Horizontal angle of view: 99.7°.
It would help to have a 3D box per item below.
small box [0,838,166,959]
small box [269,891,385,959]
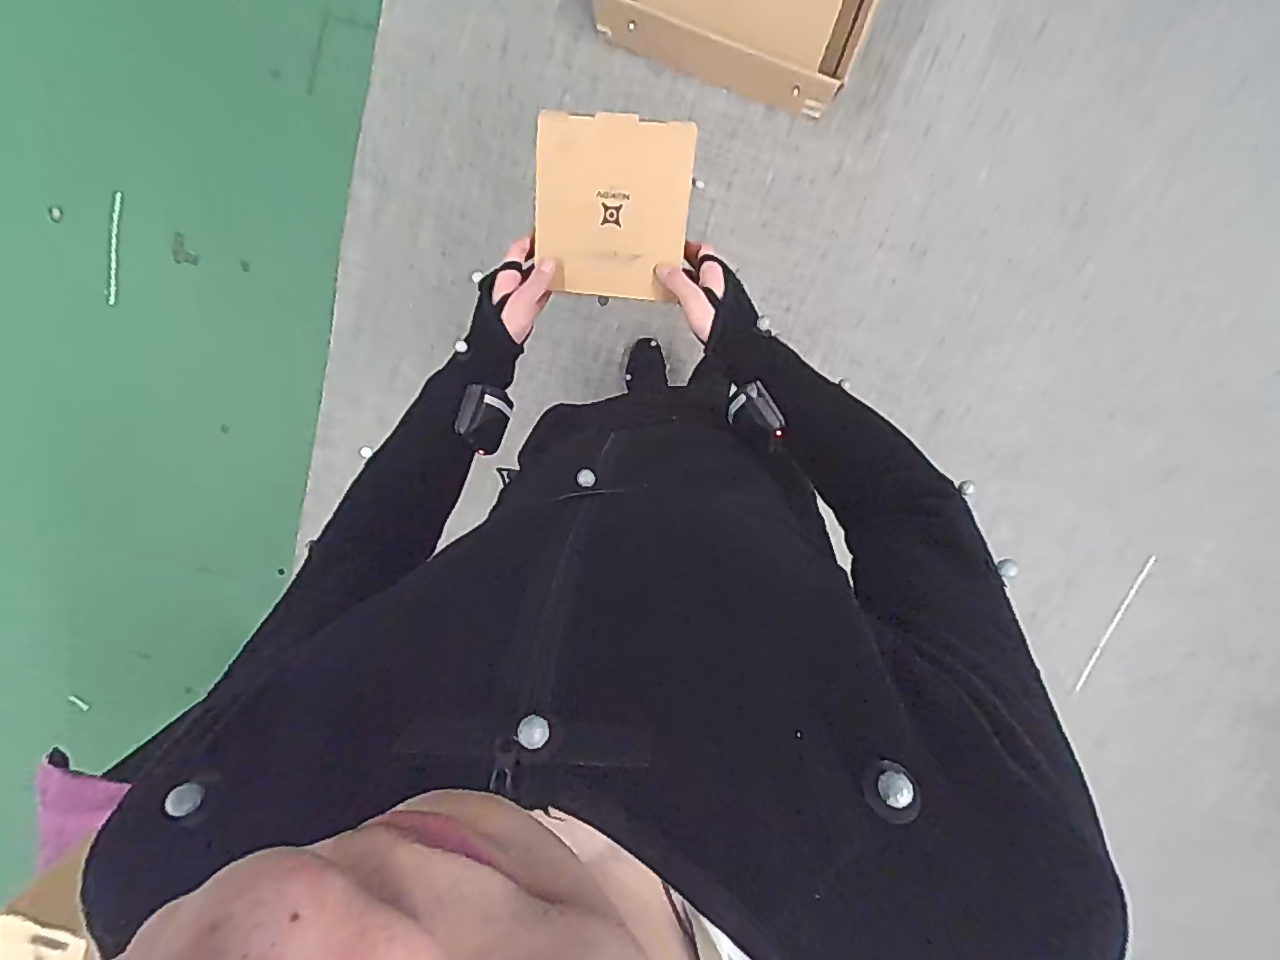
[{"bbox_3d":[-1.095,0.861,1.072,0.168,0.176,0.179,21,106,-3],"label":"small box"},{"bbox_3d":[-0.638,0.981,1.080,0.168,0.176,0.179,18,106,-2],"label":"small box"}]
